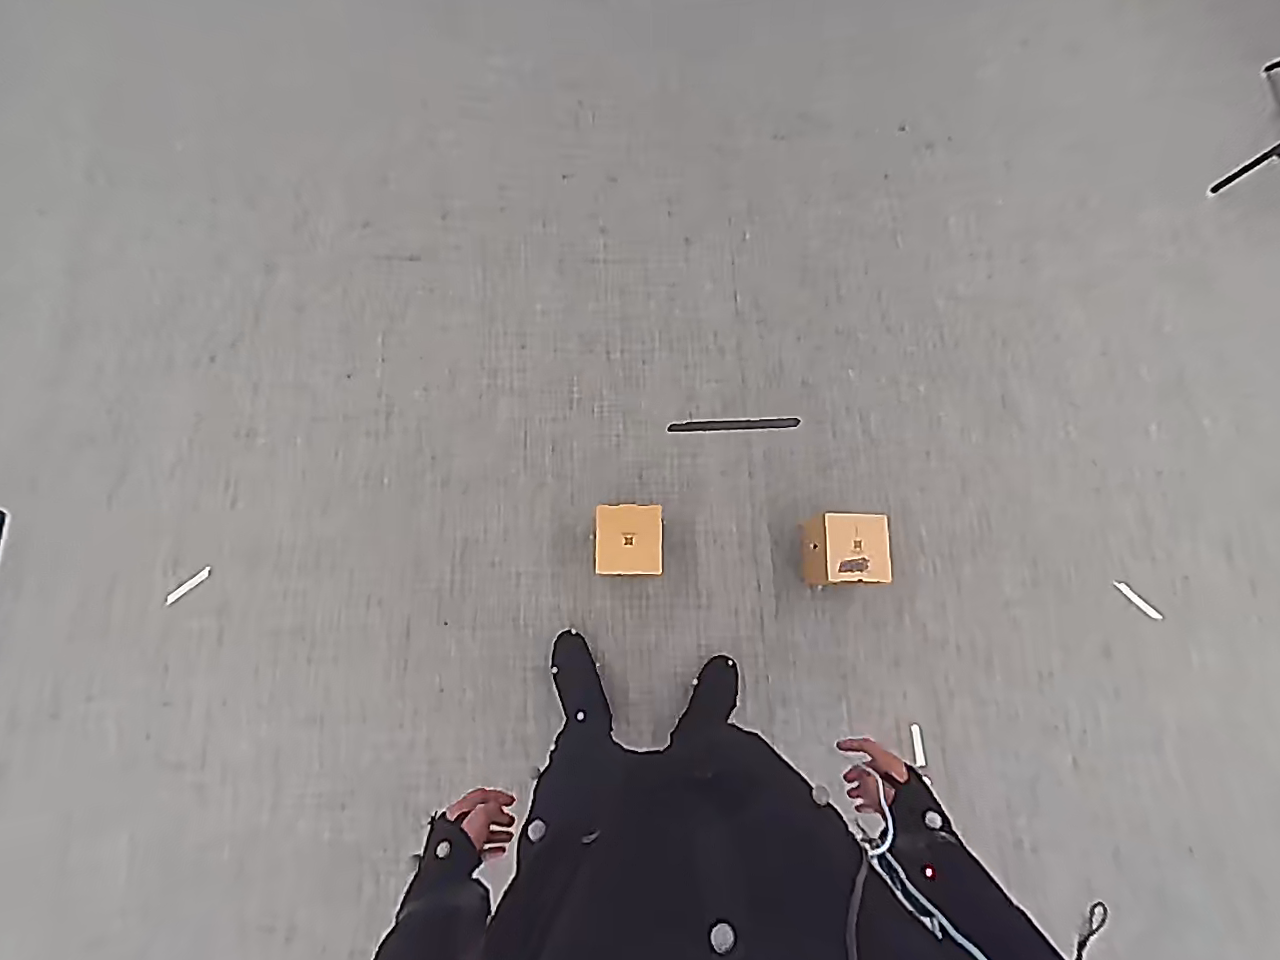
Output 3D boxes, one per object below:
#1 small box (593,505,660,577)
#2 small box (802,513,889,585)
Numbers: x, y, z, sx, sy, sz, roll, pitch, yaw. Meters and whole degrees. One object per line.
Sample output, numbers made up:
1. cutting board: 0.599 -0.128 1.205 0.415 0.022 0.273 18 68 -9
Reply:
1. small box: -0.033 0.166 1.420 0.168 0.176 0.179 0 77 -2
2. small box: 0.540 0.188 1.438 0.168 0.176 0.179 2 77 -3
